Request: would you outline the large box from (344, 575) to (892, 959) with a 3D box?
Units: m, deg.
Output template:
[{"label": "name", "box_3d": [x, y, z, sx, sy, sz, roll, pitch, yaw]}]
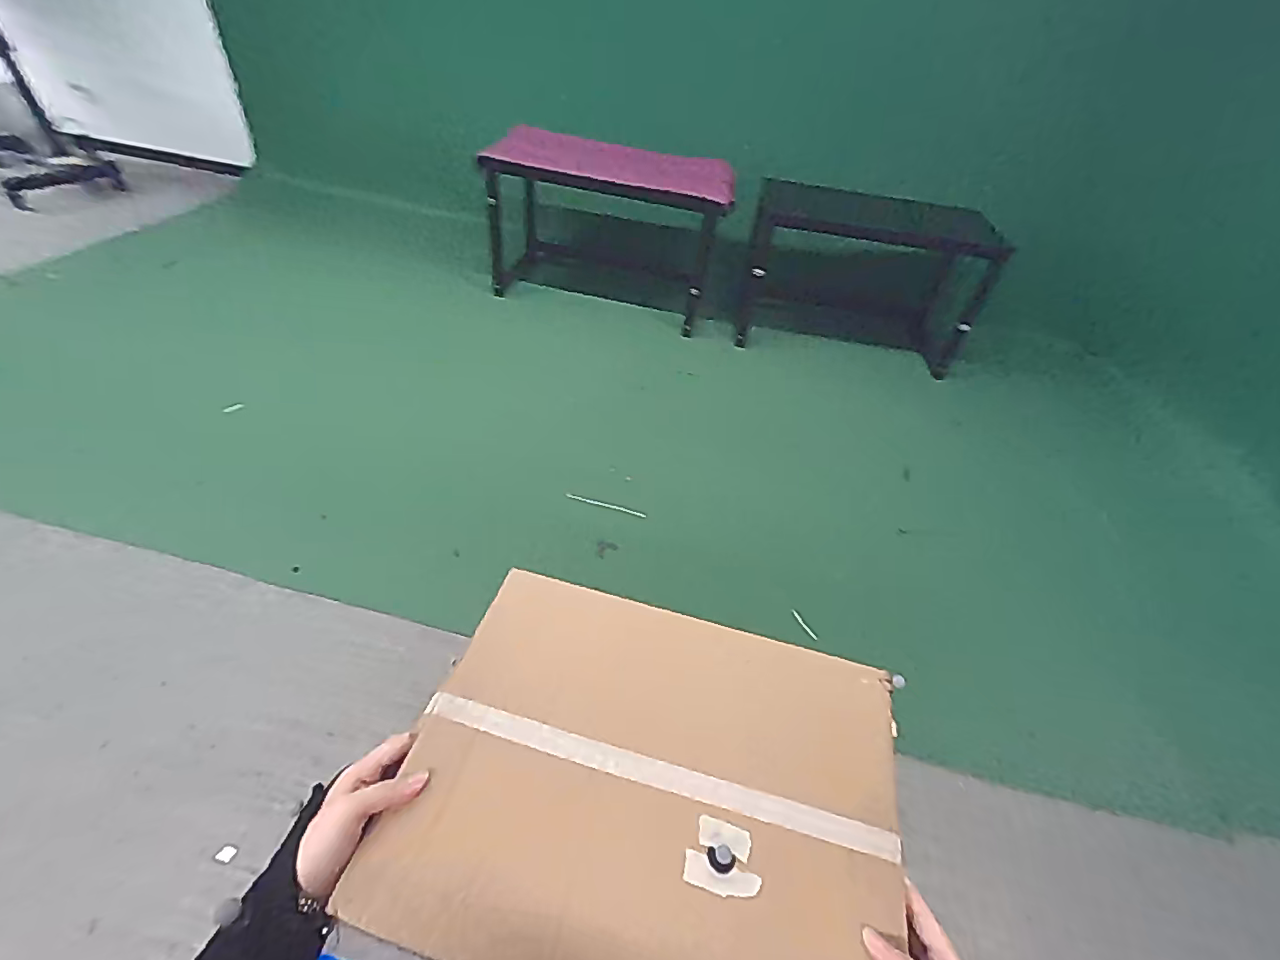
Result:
[{"label": "large box", "box_3d": [-0.003, 0.353, 0.575, 0.408, 0.320, 0.320, 13, 46, 7]}]
